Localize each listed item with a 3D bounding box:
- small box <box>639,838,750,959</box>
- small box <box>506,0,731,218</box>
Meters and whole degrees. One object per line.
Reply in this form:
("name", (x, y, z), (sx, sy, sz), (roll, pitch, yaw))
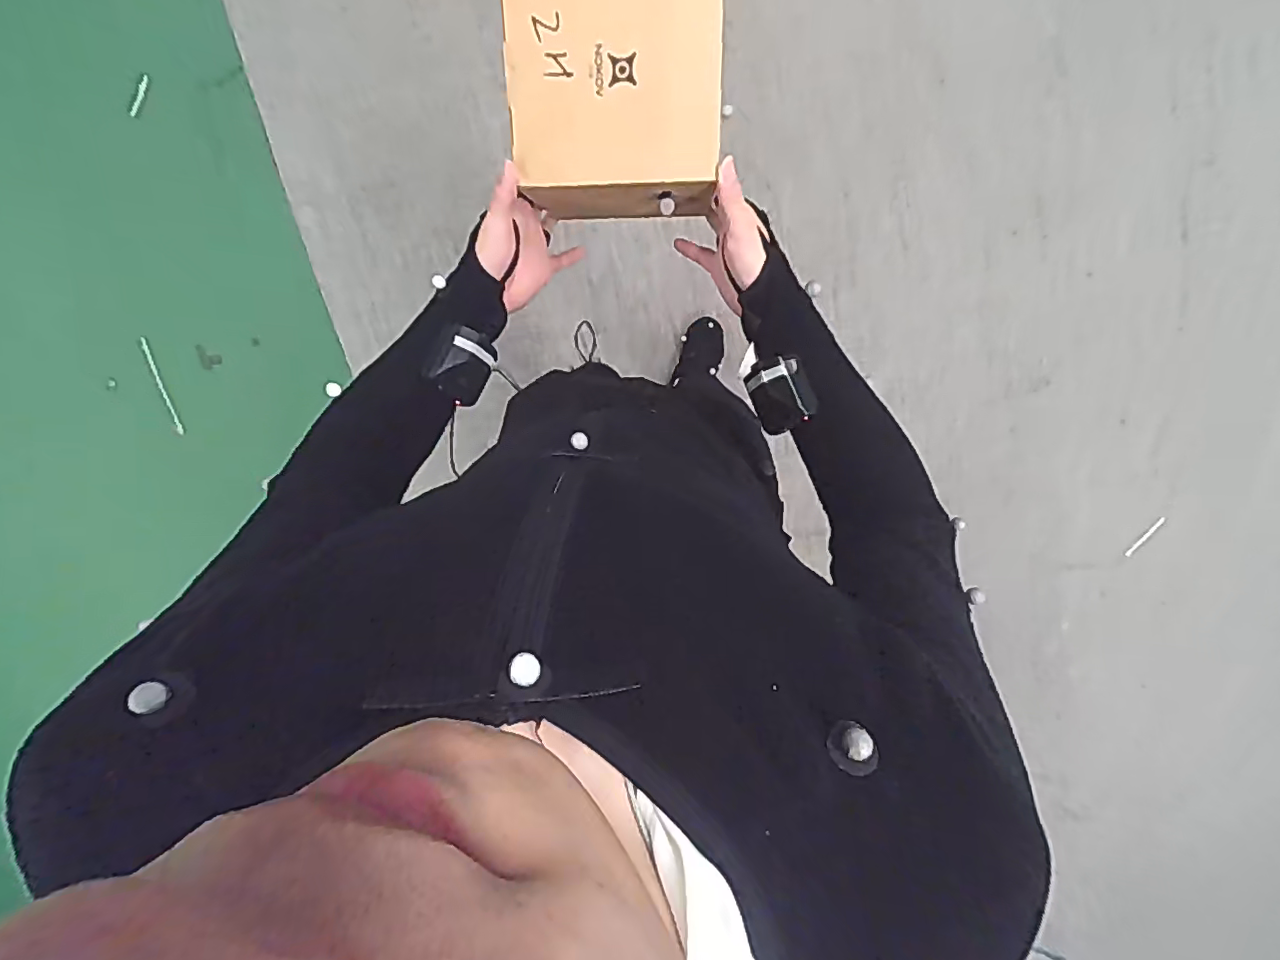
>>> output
("small box", (0.110, 0.830, 1.040), (0.179, 0.176, 0.168), (-13, 103, 9))
("small box", (-0.012, -0.350, 0.505), (0.179, 0.176, 0.168), (0, 107, 4))
